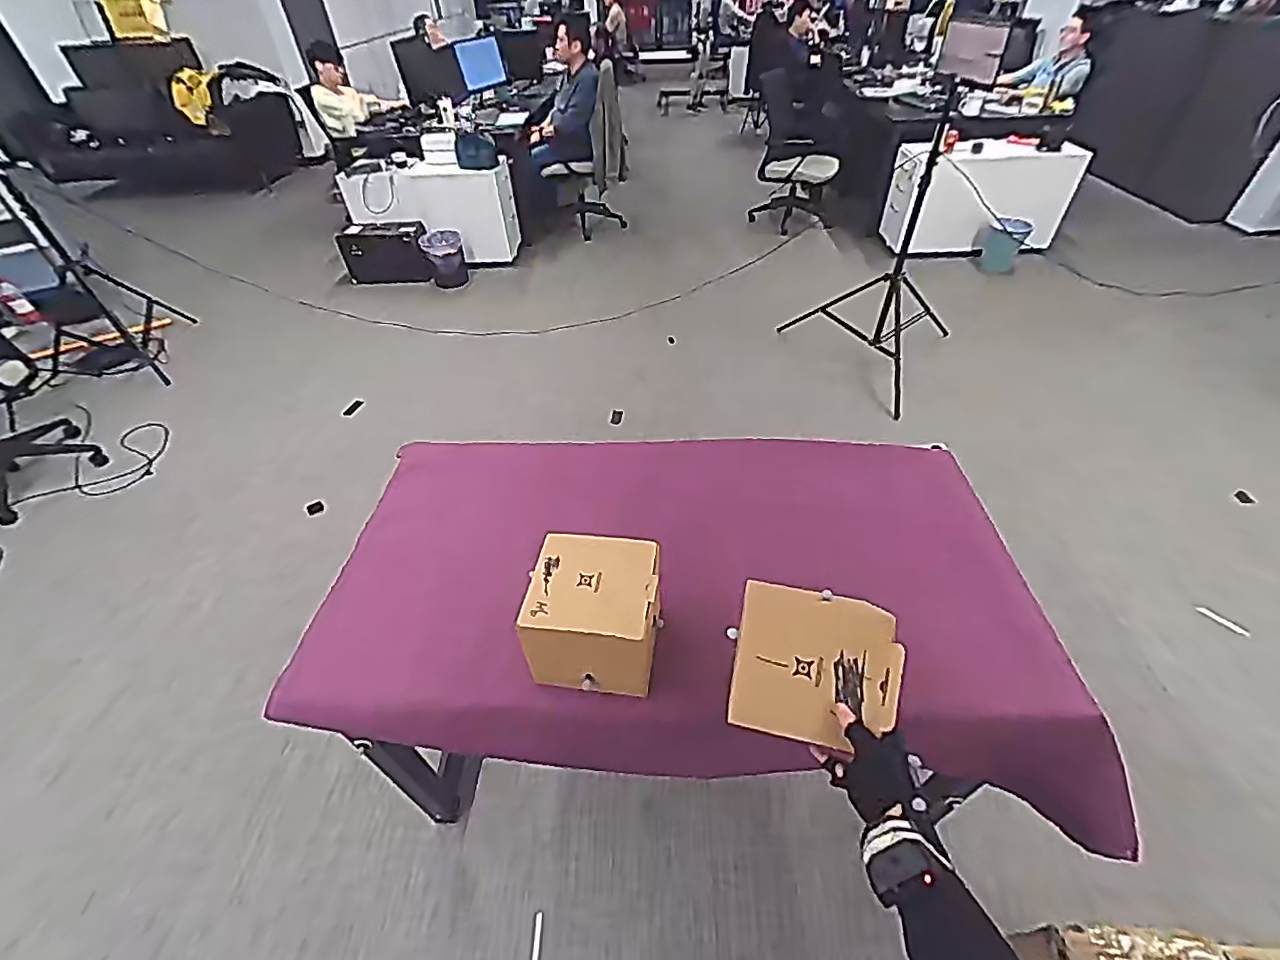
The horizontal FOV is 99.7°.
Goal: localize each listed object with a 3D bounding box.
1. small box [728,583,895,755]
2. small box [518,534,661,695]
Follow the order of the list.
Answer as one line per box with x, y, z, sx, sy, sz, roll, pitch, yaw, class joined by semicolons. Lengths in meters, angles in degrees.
0.220;0.237;0.727;0.179;0.176;0.168;9;85;13;small box
-0.065;0.207;0.823;0.179;0.176;0.168;5;43;7;small box
